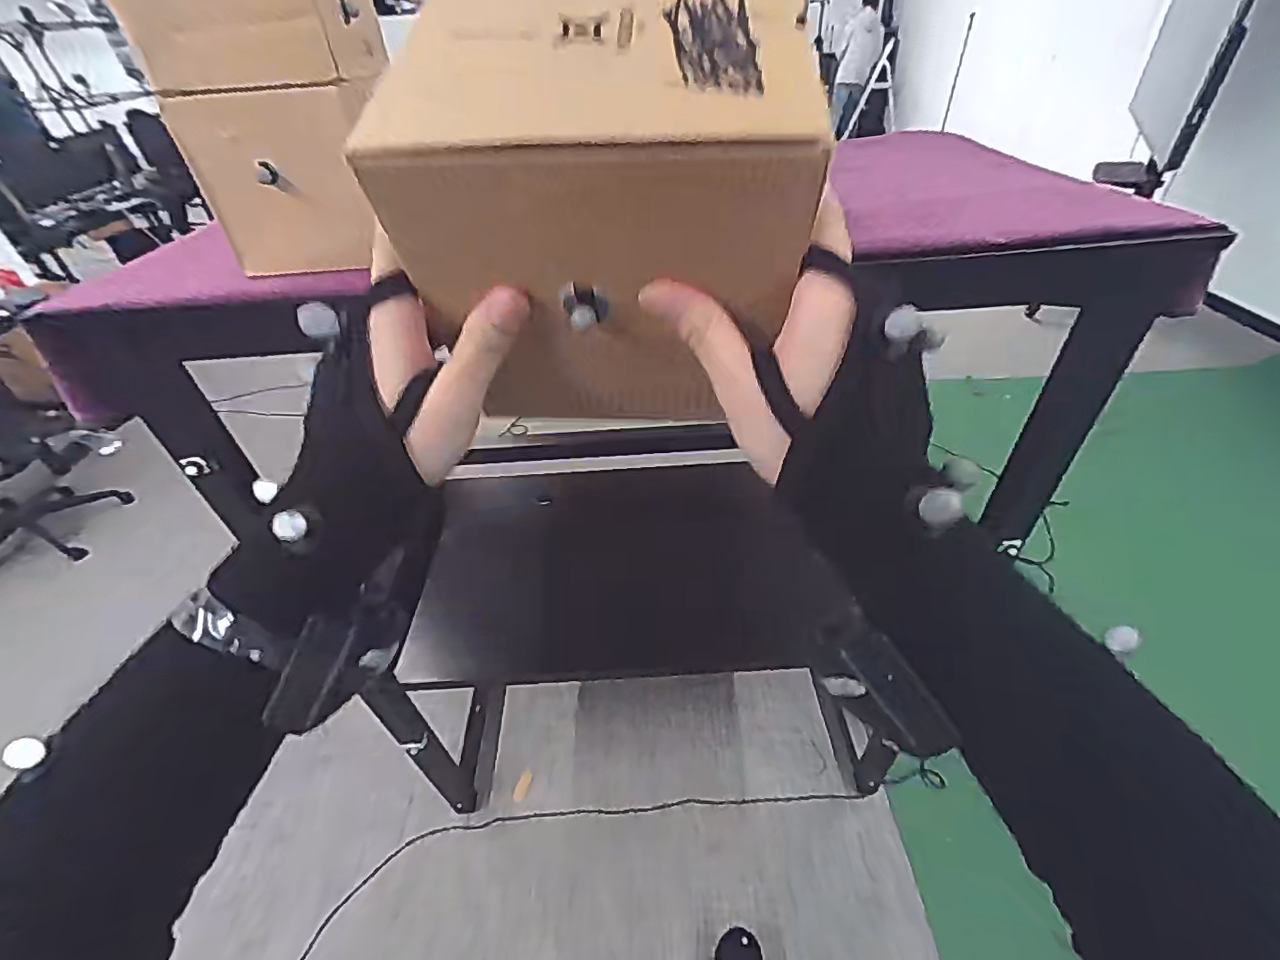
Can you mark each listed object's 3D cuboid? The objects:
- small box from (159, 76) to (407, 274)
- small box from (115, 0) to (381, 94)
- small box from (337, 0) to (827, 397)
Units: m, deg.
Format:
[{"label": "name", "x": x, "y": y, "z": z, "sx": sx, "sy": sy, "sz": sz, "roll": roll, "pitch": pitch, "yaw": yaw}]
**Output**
[{"label": "small box", "x": -0.357, "y": -0.344, "z": 0.609, "sx": 0.179, "sy": 0.176, "sz": 0.168, "roll": -6, "pitch": 39, "yaw": 0}, {"label": "small box", "x": -0.369, "y": -0.471, "z": 0.508, "sx": 0.179, "sy": 0.176, "sz": 0.168, "roll": -5, "pitch": 39, "yaw": -2}, {"label": "small box", "x": -0.013, "y": -0.159, "z": 0.293, "sx": 0.179, "sy": 0.176, "sz": 0.168, "roll": 1, "pitch": 62, "yaw": 6}]
